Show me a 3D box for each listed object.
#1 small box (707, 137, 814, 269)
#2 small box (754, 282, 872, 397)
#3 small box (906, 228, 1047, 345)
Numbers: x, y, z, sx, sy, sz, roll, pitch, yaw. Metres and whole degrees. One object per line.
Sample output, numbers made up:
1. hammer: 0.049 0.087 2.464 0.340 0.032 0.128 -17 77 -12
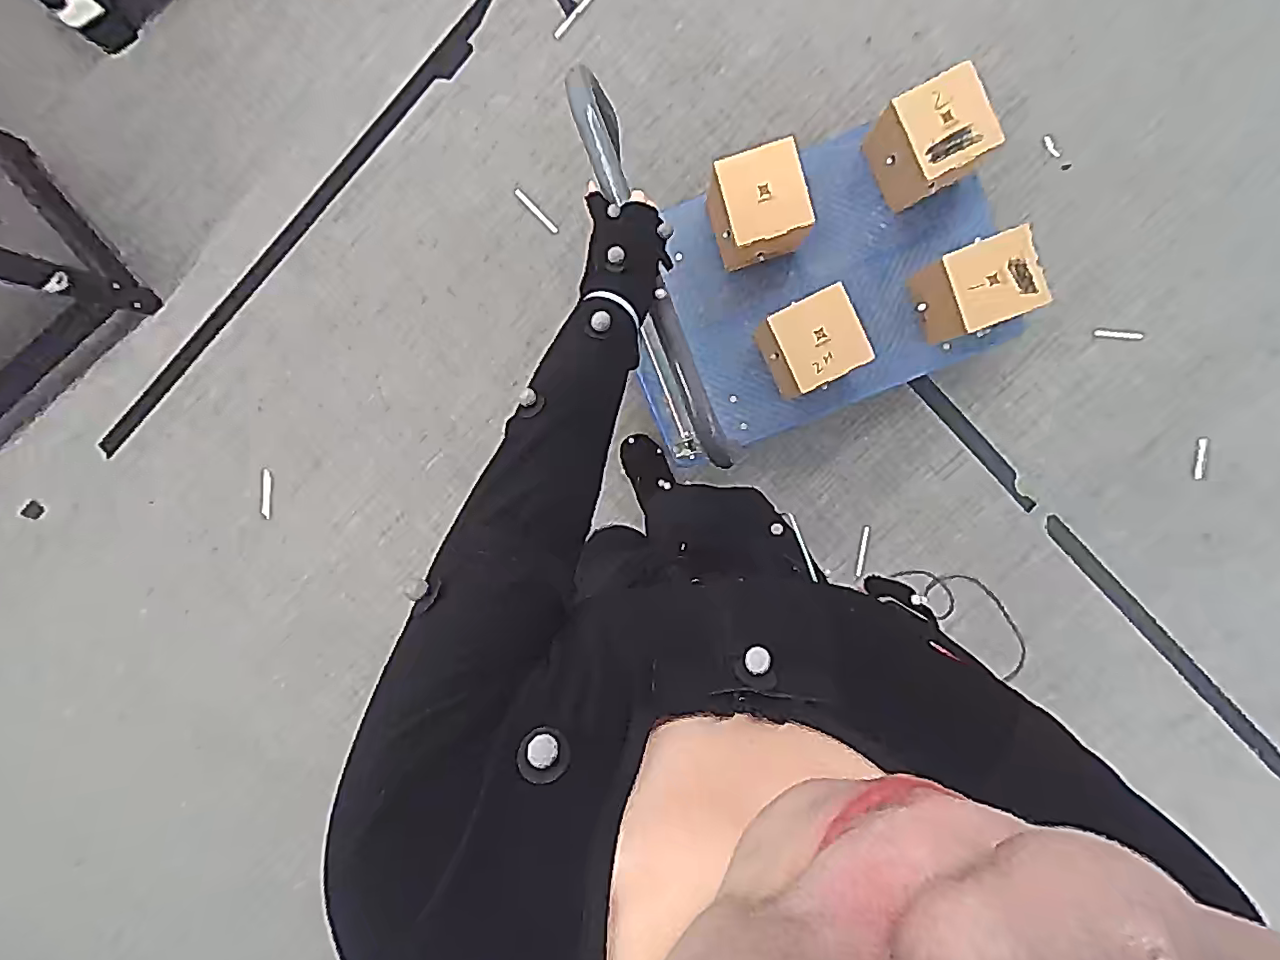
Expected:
1. small box: 0.248 -0.581 1.156 0.168 0.176 0.179 -17 96 3
2. small box: 0.364 -0.295 1.176 0.168 0.176 0.179 -25 94 4
3. small box: 0.708 -0.404 1.156 0.179 0.176 0.168 -20 94 5
